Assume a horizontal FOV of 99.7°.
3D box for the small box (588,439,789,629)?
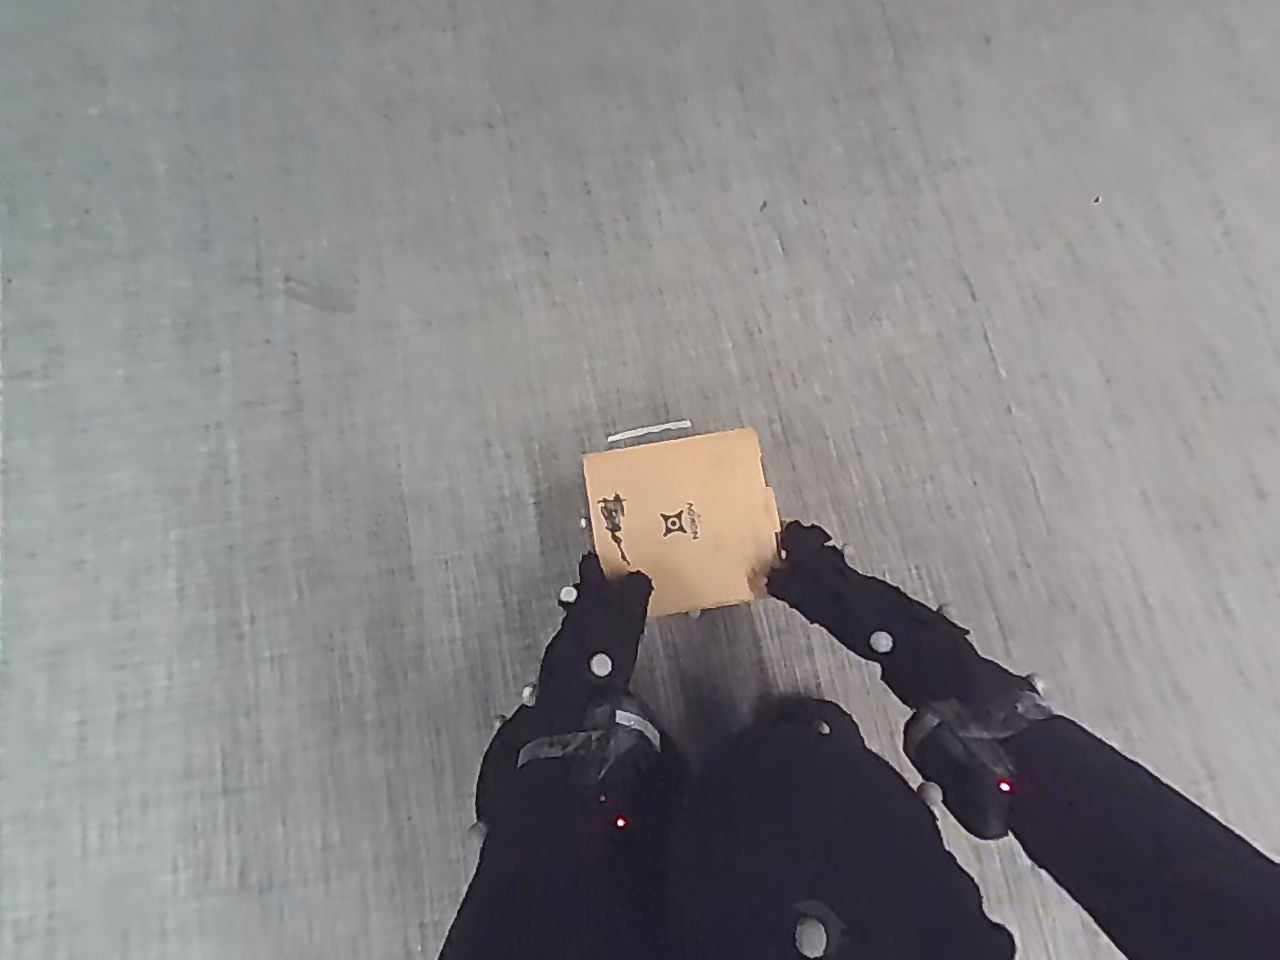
[{"bbox_3d":[0.047,0.063,0.600,0.179,0.176,0.168,-9,79,1],"label":"small box"}]
